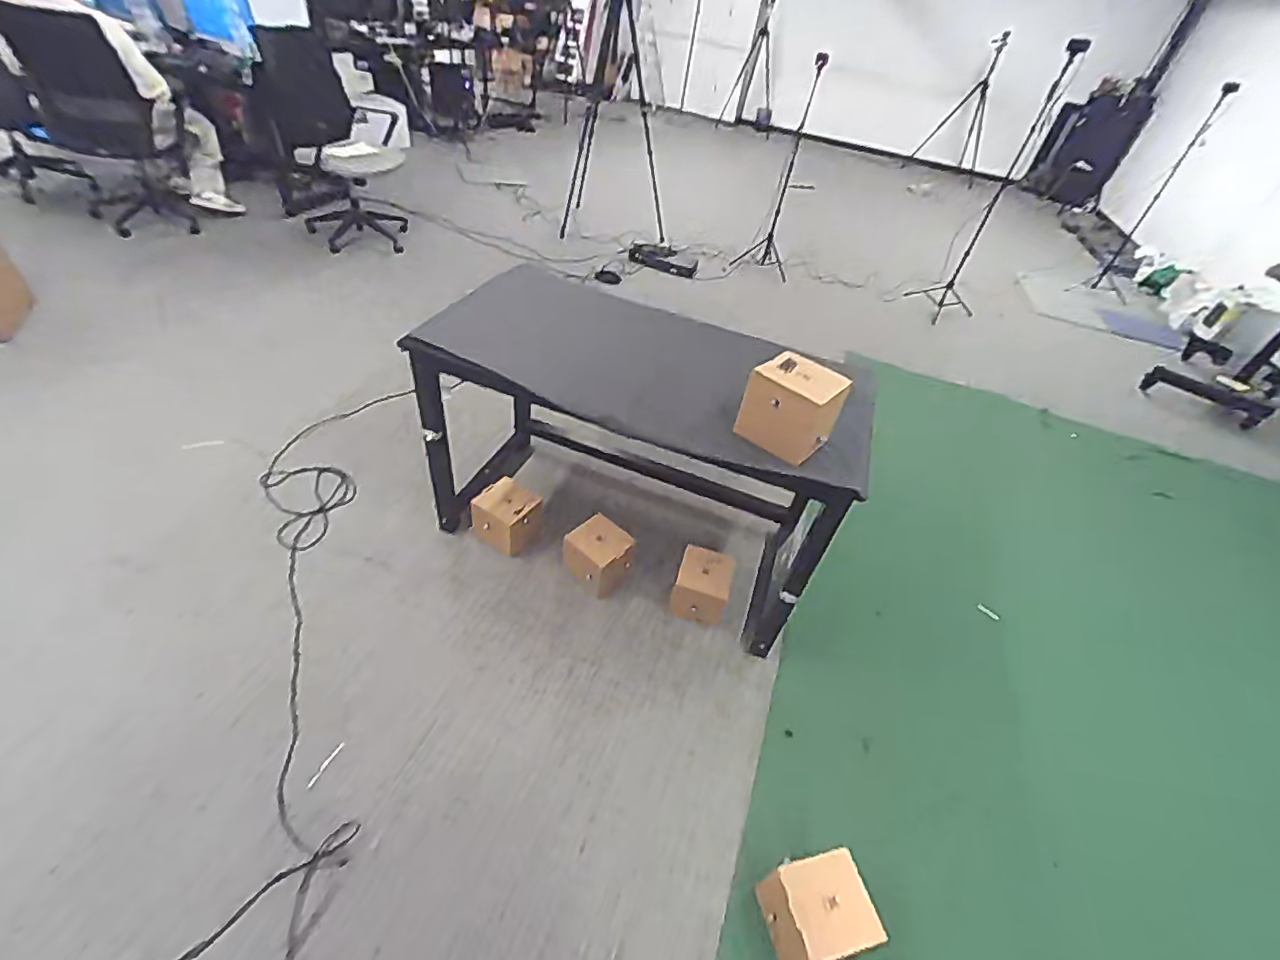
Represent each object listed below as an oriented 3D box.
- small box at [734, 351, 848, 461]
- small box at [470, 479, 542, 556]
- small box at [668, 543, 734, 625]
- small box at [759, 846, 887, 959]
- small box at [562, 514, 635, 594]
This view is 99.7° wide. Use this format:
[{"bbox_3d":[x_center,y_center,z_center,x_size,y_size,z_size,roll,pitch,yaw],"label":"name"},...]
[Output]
[{"bbox_3d":[0.341,-0.171,1.249,0.179,0.176,0.168,34,45,26],"label":"small box"},{"bbox_3d":[-0.458,0.131,1.861,0.179,0.176,0.168,27,45,19],"label":"small box"},{"bbox_3d":[0.195,0.341,1.754,0.168,0.176,0.179,16,43,6],"label":"small box"},{"bbox_3d":[0.382,0.922,1.162,0.179,0.176,0.168,-6,45,-16],"label":"small box"},{"bbox_3d":[-0.141,0.251,1.790,0.179,0.176,0.168,33,46,25],"label":"small box"}]
